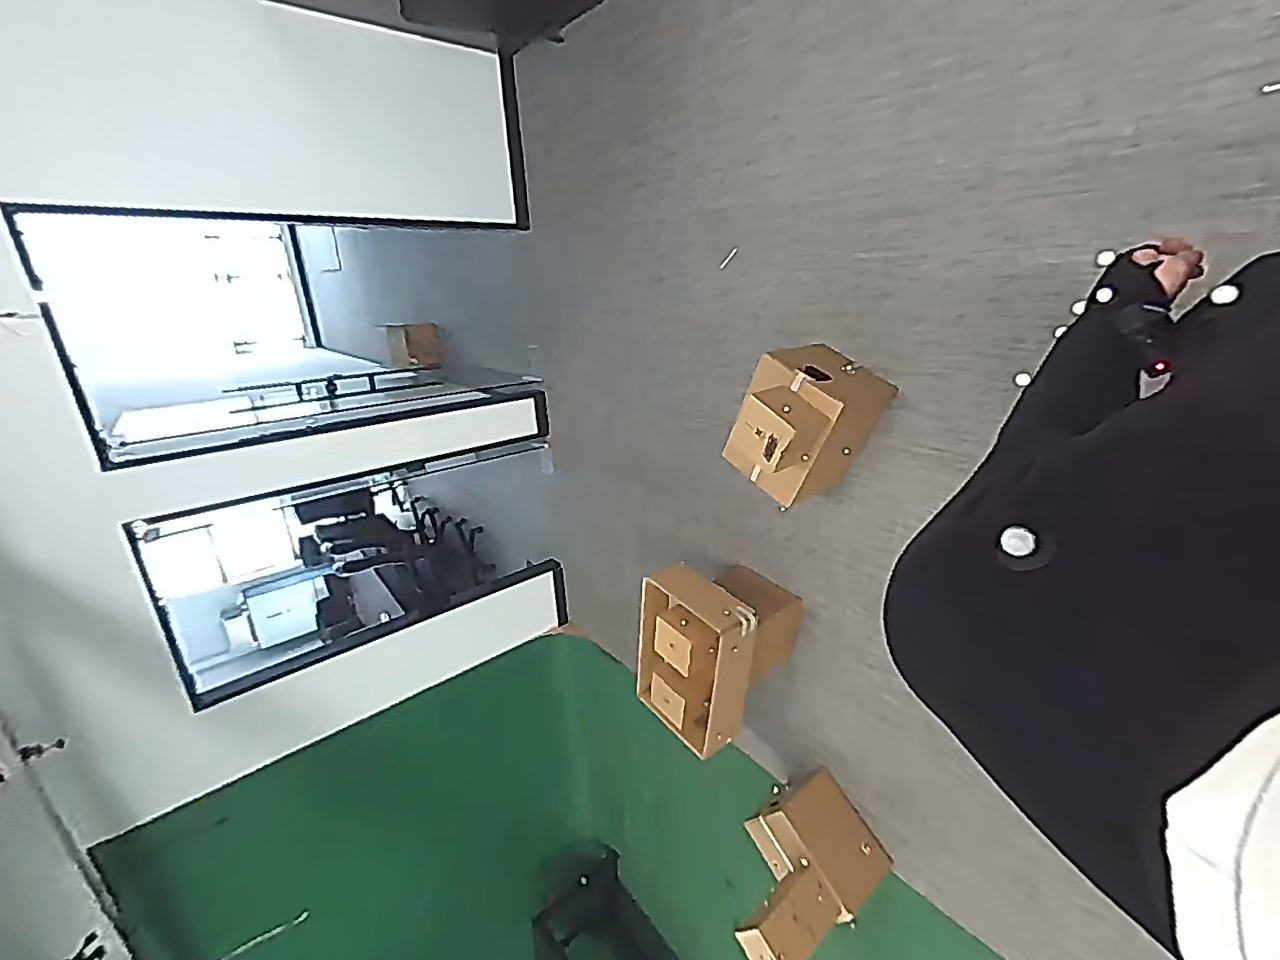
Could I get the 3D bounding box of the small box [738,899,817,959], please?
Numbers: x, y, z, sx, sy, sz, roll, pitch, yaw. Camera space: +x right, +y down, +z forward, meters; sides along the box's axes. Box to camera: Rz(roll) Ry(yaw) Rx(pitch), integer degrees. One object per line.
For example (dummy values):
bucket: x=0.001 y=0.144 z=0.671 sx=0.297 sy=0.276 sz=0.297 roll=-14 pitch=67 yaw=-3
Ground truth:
small box: x=0.482 y=1.612 z=1.889 sx=0.168 sy=0.176 sz=0.179 roll=53 pitch=139 yaw=24

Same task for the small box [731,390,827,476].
small box: x=0.402 y=-0.144 z=1.562 sx=0.179 sy=0.176 sz=0.168 roll=47 pitch=136 yaw=29

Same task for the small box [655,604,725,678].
small box: x=0.180 y=0.573 z=1.961 sx=0.179 sy=0.176 sz=0.168 roll=29 pitch=125 yaw=41

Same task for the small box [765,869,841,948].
small box: x=0.604 y=1.580 z=1.995 sx=0.168 sy=0.176 sz=0.179 roll=53 pitch=138 yaw=24

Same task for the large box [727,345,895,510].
large box: x=0.548 y=-0.181 z=1.772 sx=0.320 sy=0.320 sz=0.408 roll=45 pitch=136 yaw=33
